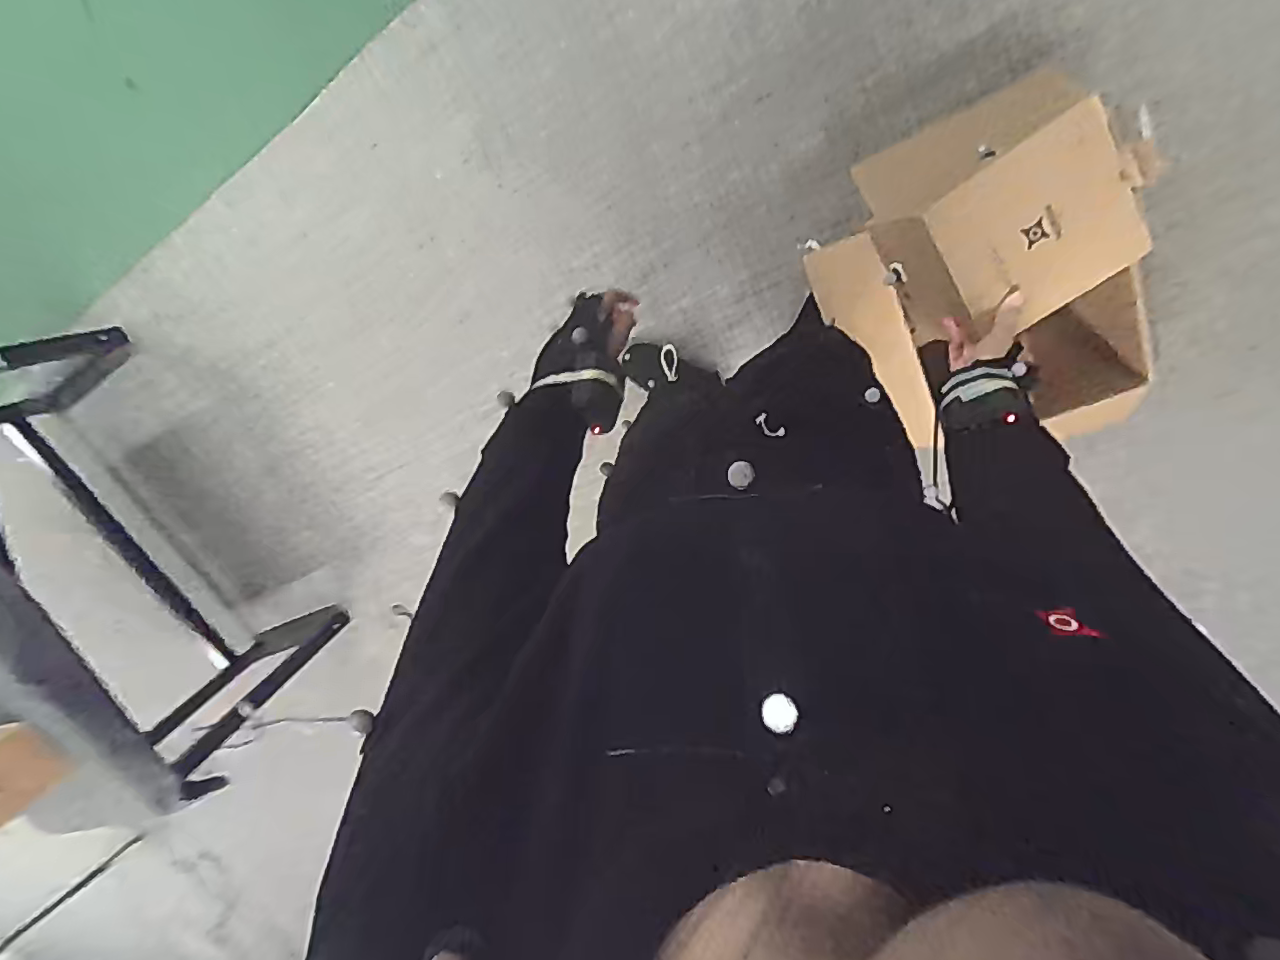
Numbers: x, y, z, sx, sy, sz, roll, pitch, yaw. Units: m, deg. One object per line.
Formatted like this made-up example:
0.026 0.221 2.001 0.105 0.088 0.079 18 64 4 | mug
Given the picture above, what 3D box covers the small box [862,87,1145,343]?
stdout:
0.387 -0.281 0.604 0.179 0.176 0.168 -33 108 12 | small box
